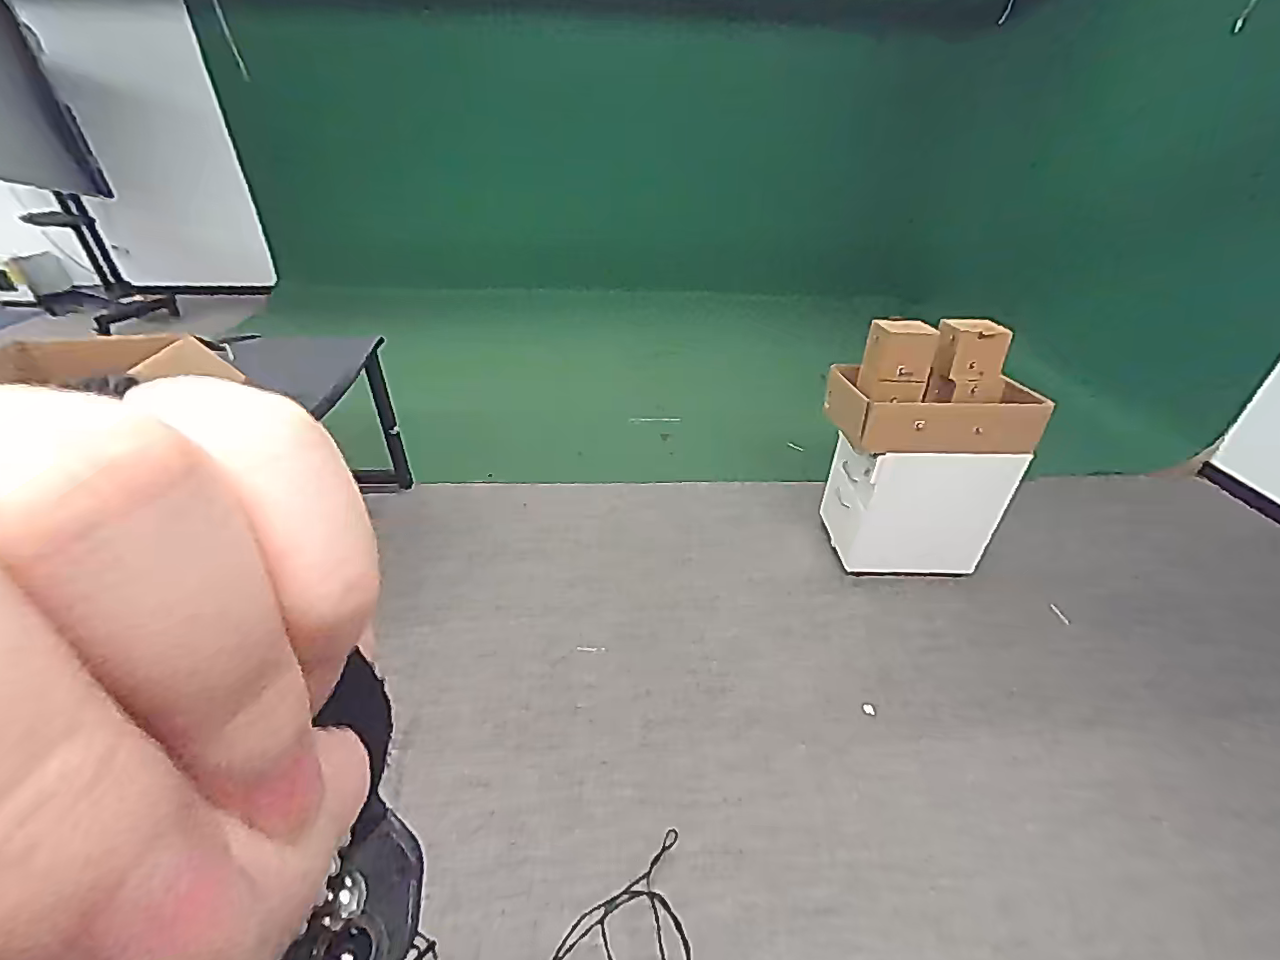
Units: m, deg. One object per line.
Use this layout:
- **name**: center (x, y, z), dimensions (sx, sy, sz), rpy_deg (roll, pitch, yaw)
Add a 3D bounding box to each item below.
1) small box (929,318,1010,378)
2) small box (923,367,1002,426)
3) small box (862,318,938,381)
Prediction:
- **small box**: center (1.136, -0.459, 1.886), dimensions (0.168, 0.176, 0.179), rpy_deg (2, 30, 3)
- **small box**: center (1.144, -0.302, 1.938), dimensions (0.168, 0.176, 0.179), rpy_deg (-1, 29, 1)
- **small box**: center (0.883, -0.449, 1.857), dimensions (0.168, 0.176, 0.179), rpy_deg (1, 30, 1)
